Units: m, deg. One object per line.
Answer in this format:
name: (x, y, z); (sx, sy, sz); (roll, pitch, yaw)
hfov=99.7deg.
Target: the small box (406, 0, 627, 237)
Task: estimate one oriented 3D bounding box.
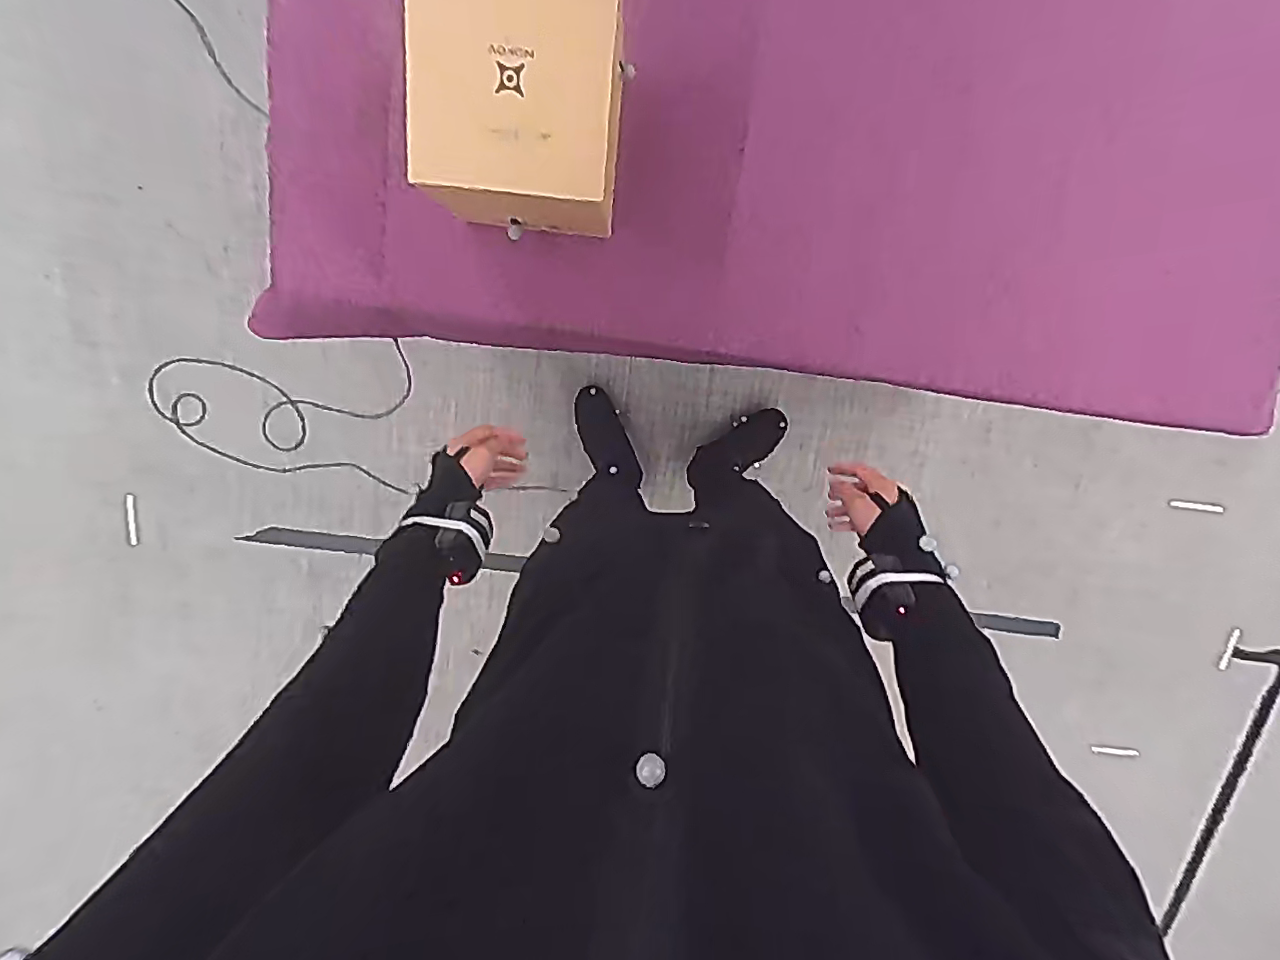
small box: (-0.102, -0.344, 0.504); (0.168, 0.176, 0.179); (6, 104, -2)
